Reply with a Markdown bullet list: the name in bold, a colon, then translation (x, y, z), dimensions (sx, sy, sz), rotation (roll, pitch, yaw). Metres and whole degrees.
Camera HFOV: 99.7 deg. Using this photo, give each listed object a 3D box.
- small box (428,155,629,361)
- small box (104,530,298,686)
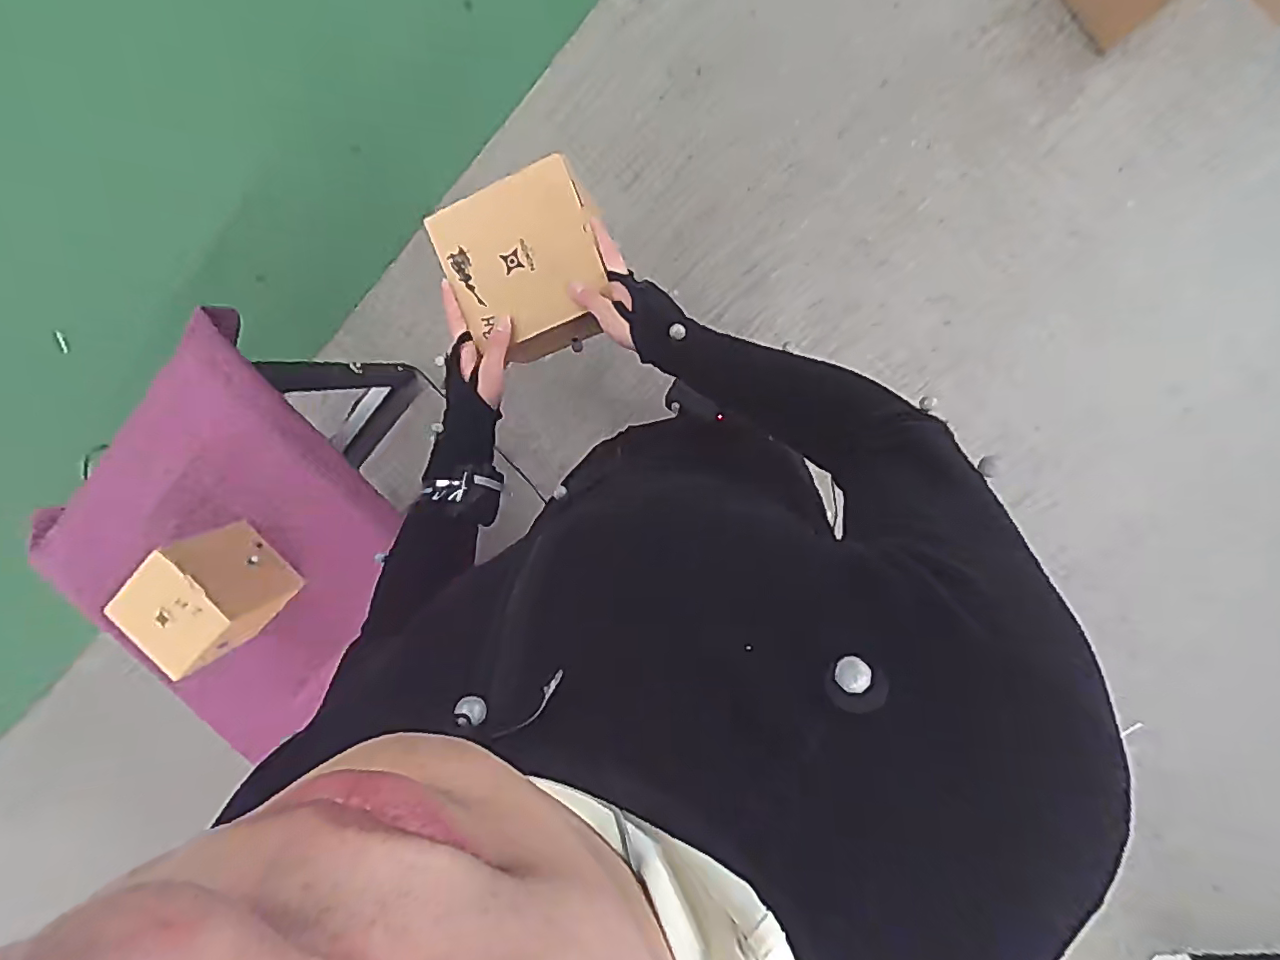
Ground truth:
- **small box**: translation (-0.120, -0.257, 0.672), dimensions (0.179, 0.176, 0.168), rotation (-20, 97, 9)
- **small box**: translation (-0.757, 0.216, 0.952), dimensions (0.179, 0.176, 0.168), rotation (-42, 94, 13)
